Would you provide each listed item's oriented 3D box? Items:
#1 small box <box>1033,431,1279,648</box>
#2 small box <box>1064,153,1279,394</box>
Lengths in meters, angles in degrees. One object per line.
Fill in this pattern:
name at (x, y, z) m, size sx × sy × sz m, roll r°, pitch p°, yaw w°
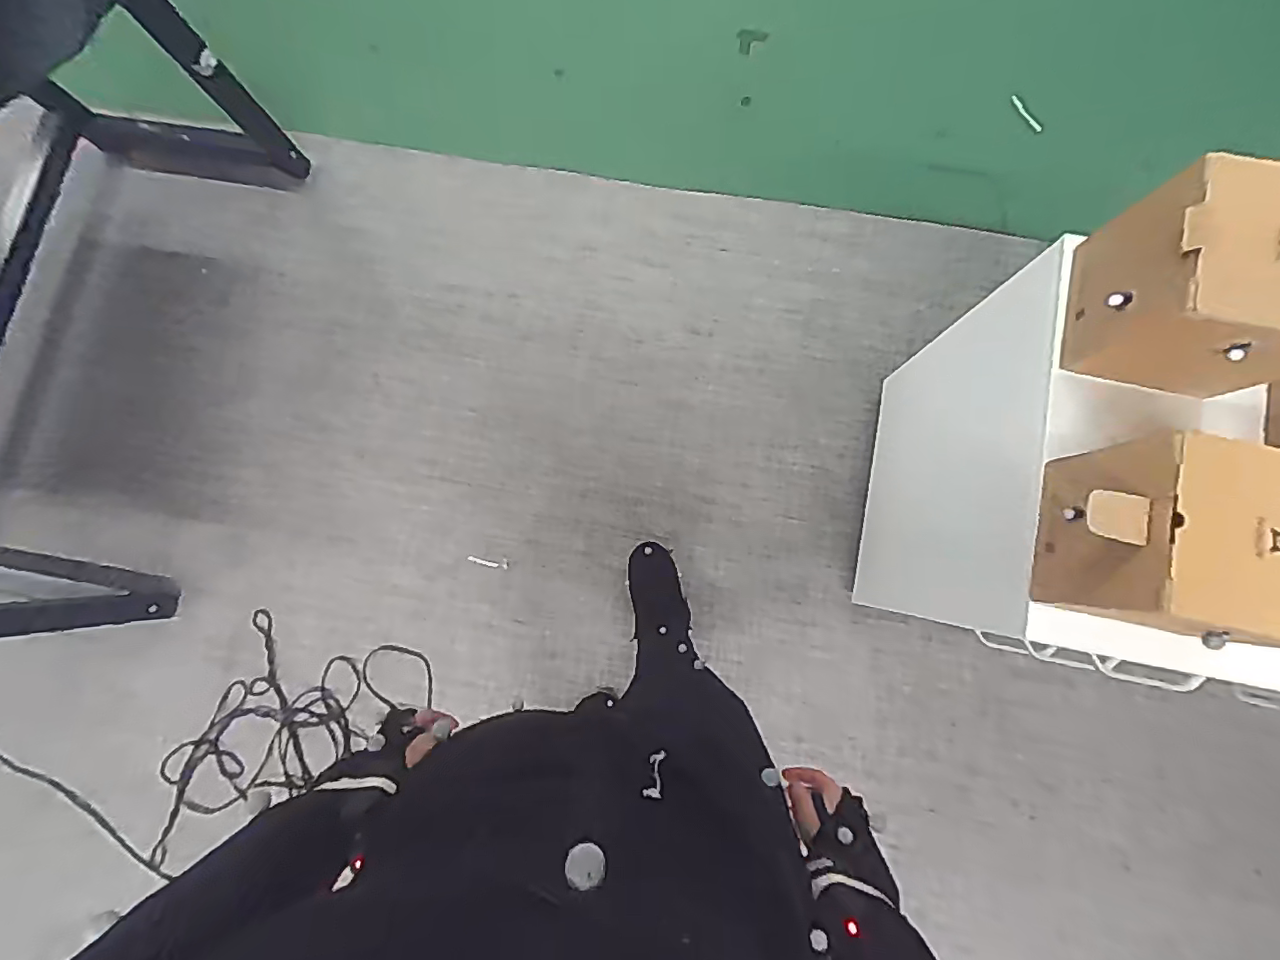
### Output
small box at (0.542, 0.064, 0.535) m, size 0.179 × 0.176 × 0.168 m, roll 12°, pitch 82°, yaw 4°
small box at (0.602, -0.203, 0.575) m, size 0.179 × 0.176 × 0.168 m, roll 12°, pitch 83°, yaw 2°
